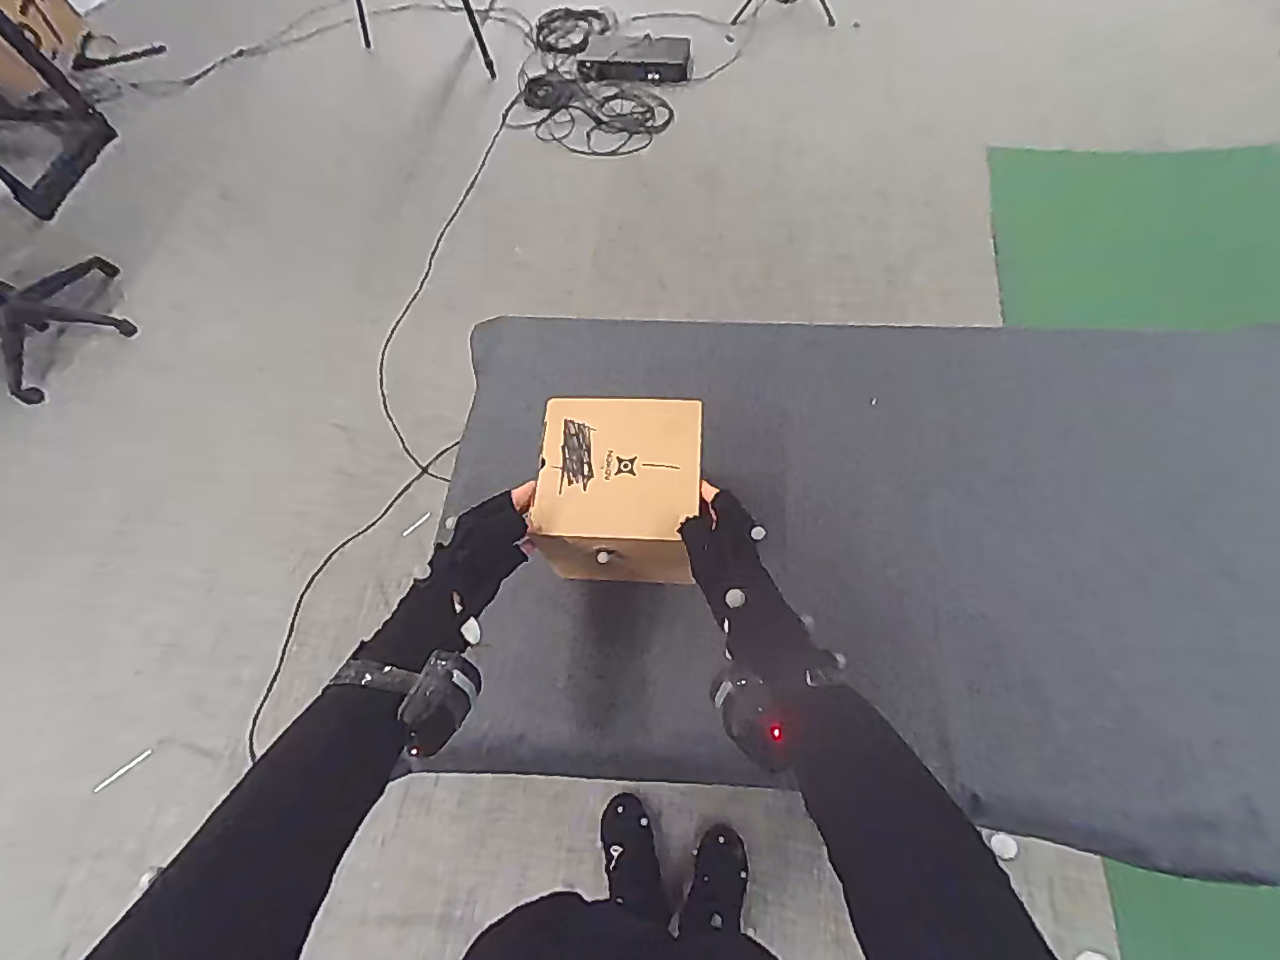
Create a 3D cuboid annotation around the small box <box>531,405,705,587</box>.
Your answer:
[{"bbox_3d":[-0.014,0.026,0.648,0.179,0.176,0.168,2,65,5],"label":"small box"}]
